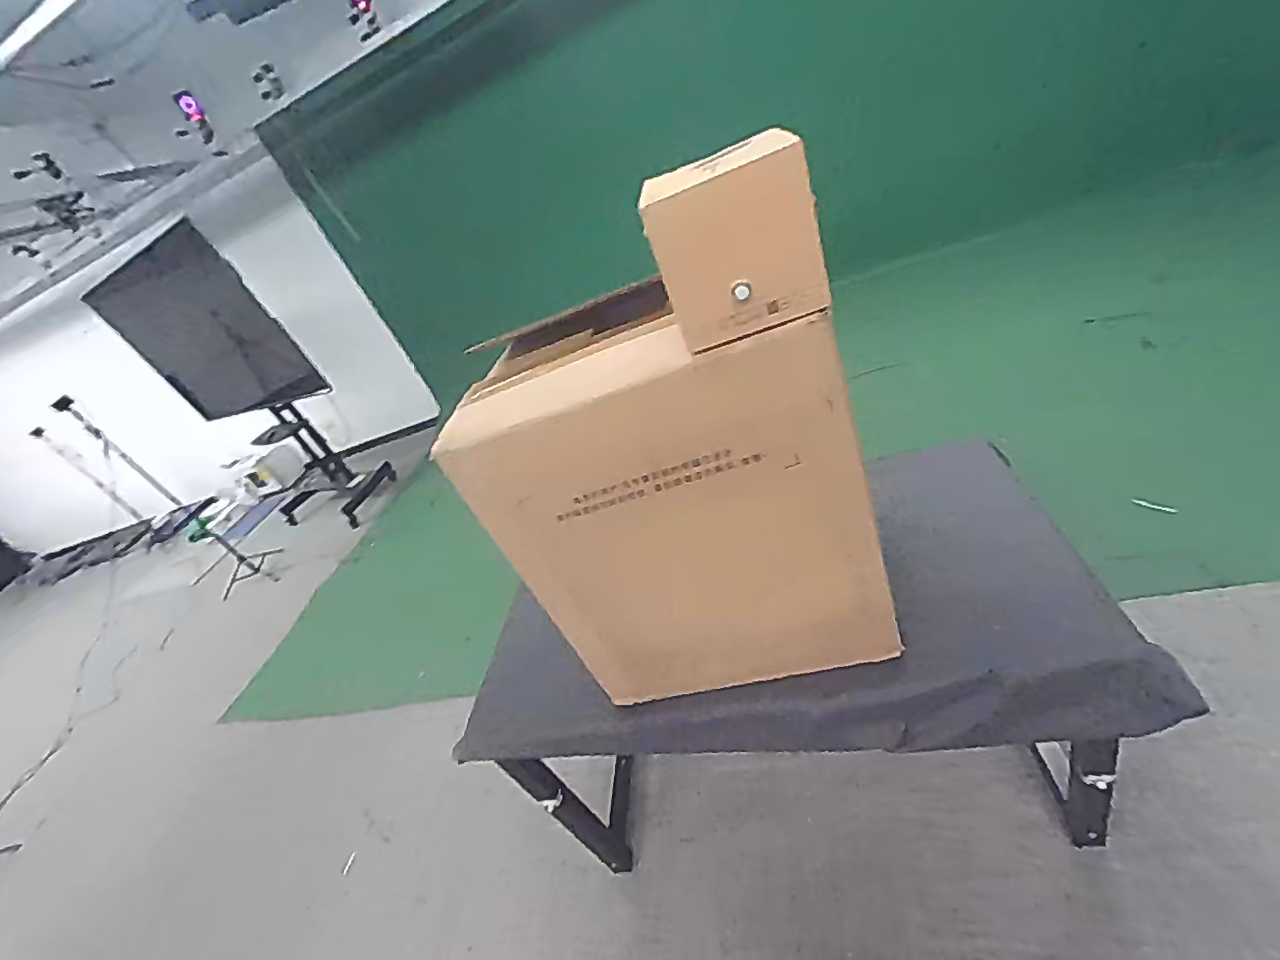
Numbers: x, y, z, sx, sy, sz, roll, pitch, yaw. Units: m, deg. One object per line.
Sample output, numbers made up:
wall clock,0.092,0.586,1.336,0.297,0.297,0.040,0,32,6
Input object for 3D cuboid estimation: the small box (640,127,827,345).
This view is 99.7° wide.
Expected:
small box,0.109,-0.283,0.634,0.168,0.176,0.179,-15,35,15
